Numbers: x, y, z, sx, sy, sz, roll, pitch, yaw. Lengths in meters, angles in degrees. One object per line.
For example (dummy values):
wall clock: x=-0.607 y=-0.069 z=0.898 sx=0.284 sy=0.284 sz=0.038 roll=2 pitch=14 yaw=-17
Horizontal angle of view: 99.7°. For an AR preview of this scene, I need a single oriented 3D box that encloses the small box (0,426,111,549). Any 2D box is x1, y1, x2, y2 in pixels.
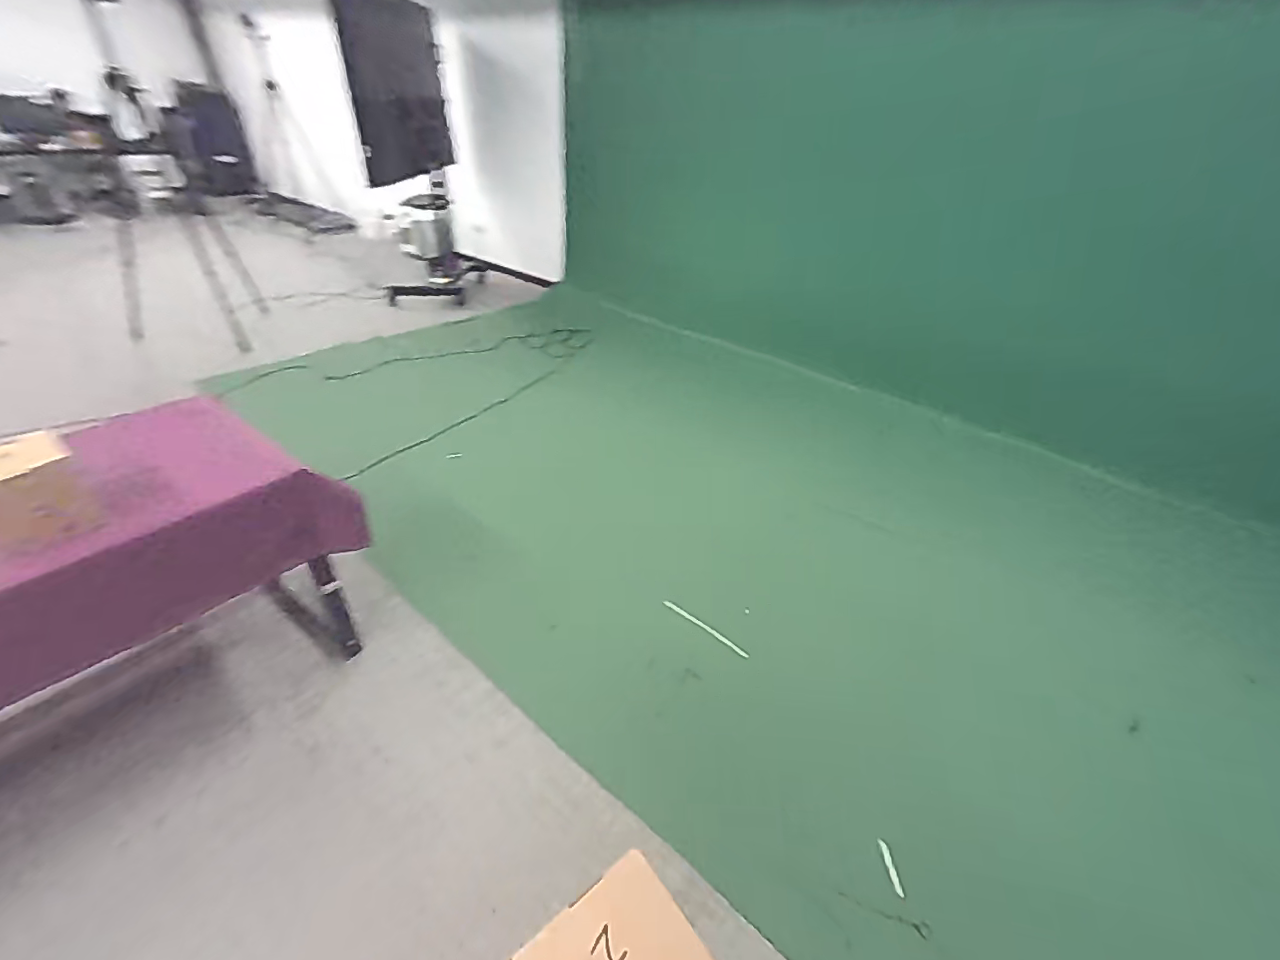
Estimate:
small box: x=-1.253 y=0.018 z=1.117 sx=0.179 sy=0.176 sz=0.168 roll=28 pitch=41 yaw=29
